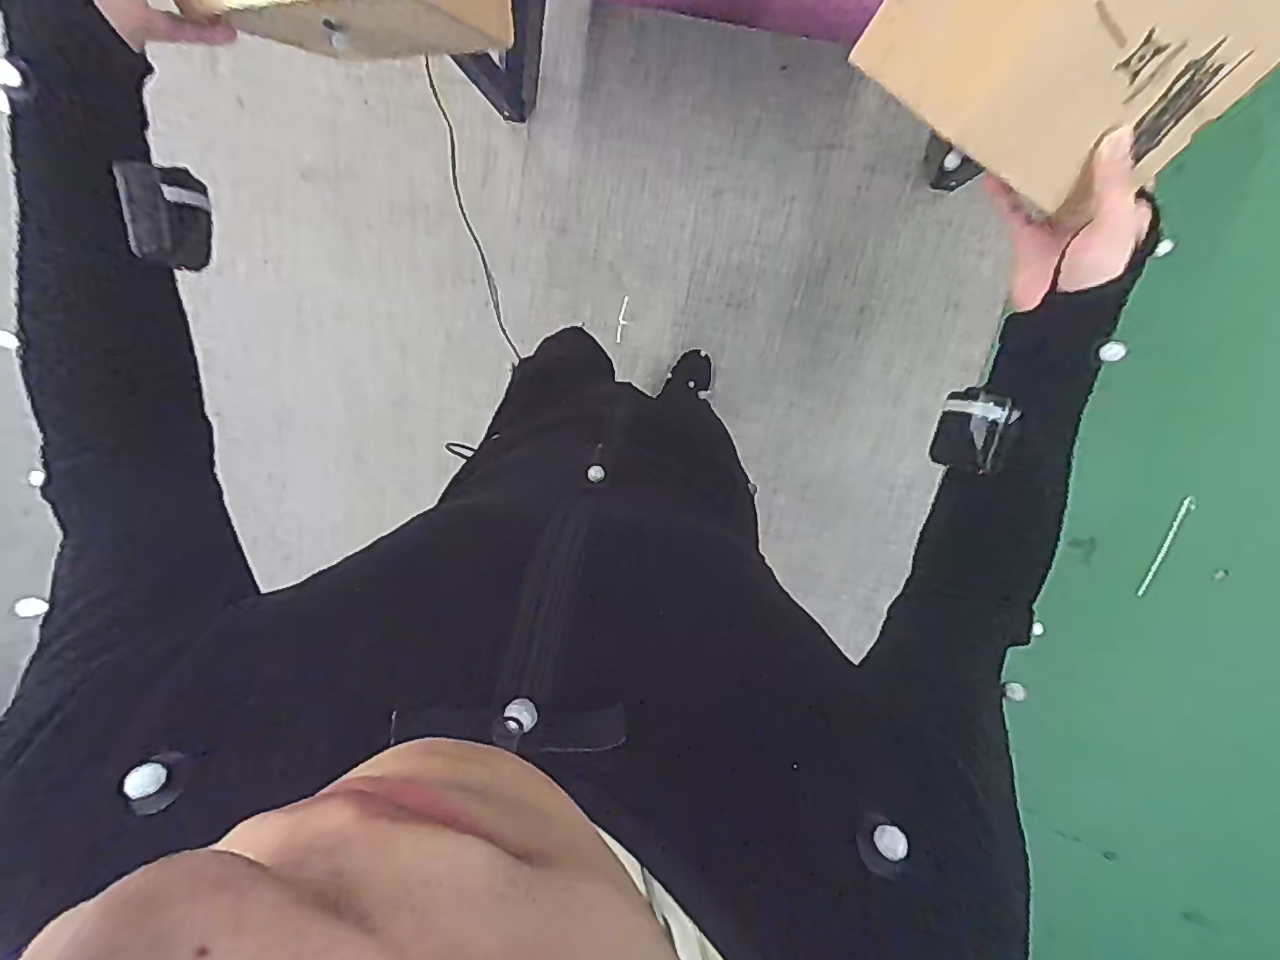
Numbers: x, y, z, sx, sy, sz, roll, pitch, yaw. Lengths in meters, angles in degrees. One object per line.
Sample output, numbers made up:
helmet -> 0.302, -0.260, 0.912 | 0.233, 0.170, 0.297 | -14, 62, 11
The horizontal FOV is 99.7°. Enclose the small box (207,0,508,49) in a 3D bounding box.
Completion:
small box -> -0.217, -0.427, 0.379 | 0.179, 0.176, 0.168 | 5, 119, 13

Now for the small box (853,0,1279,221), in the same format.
small box -> 0.287, -0.322, 0.370 | 0.179, 0.176, 0.168 | 12, 137, -25
